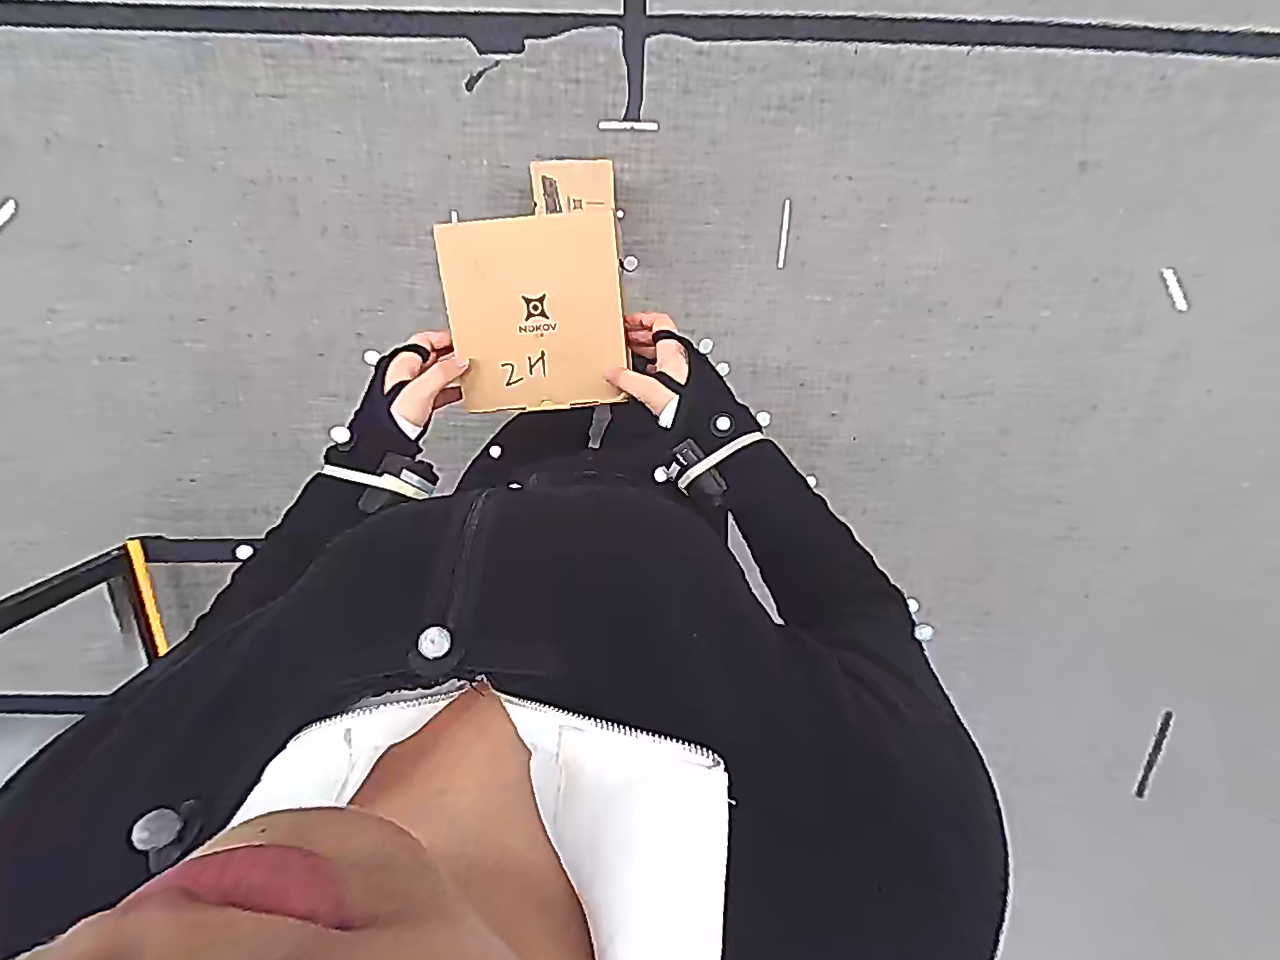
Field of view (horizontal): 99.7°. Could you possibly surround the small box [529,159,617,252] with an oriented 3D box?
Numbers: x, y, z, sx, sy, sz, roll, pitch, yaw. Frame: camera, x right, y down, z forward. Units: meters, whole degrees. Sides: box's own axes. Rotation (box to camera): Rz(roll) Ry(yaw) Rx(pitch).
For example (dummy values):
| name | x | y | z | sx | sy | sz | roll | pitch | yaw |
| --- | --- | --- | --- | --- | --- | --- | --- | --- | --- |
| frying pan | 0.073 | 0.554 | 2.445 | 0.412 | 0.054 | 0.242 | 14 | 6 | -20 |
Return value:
| name | x | y | z | sx | sy | sz | roll | pitch | yaw |
| --- | --- | --- | --- | --- | --- | --- | --- | --- | --- |
| small box | -0.142 | -0.608 | 1.214 | 0.179 | 0.176 | 0.168 | -2 | 108 | -1 |
